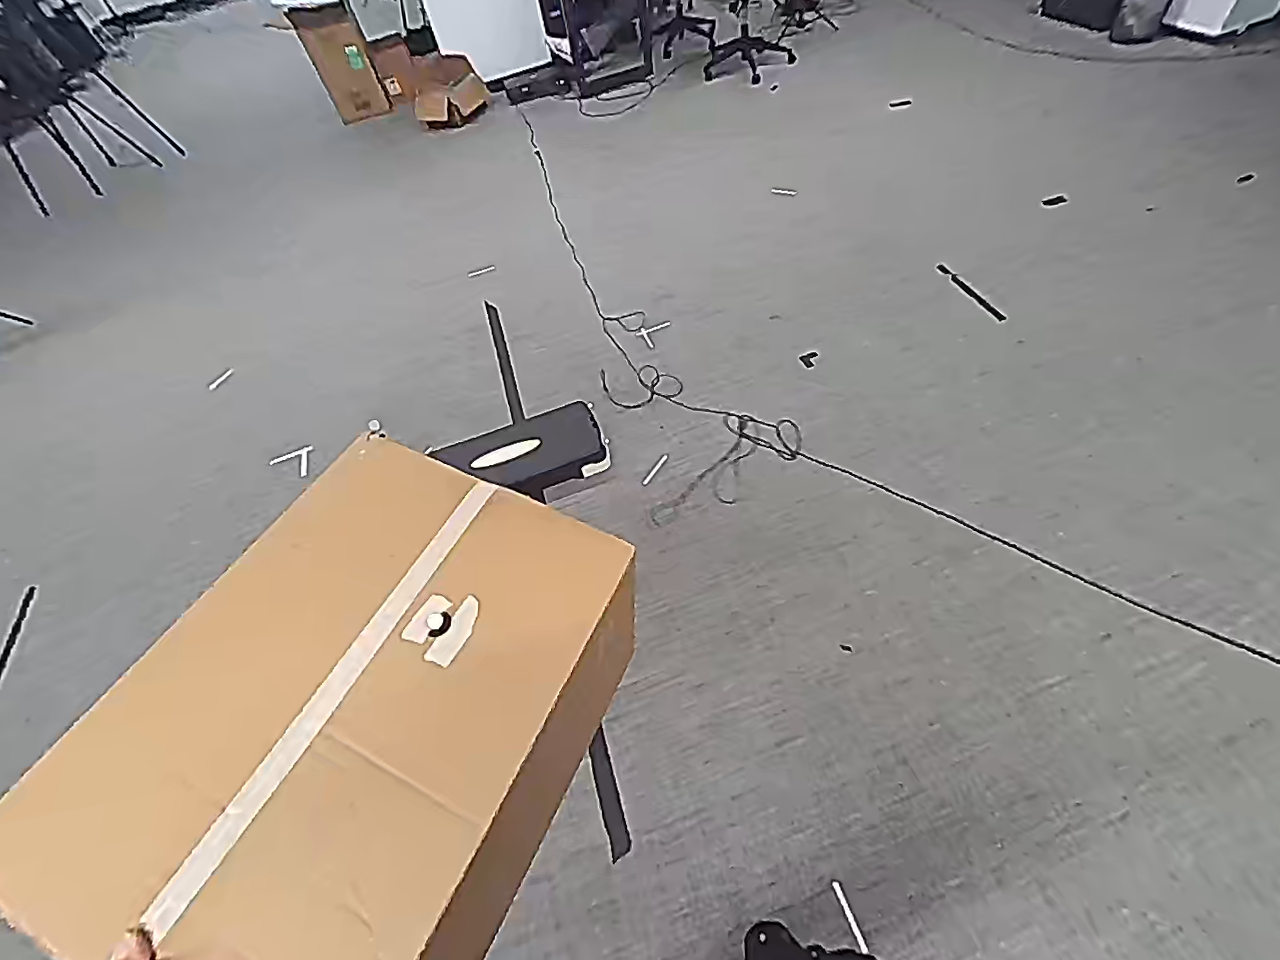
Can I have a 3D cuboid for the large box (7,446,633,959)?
[{"bbox_3d":[-0.227,0.246,0.563,0.320,0.320,0.408,21,58,13],"label":"large box"}]
